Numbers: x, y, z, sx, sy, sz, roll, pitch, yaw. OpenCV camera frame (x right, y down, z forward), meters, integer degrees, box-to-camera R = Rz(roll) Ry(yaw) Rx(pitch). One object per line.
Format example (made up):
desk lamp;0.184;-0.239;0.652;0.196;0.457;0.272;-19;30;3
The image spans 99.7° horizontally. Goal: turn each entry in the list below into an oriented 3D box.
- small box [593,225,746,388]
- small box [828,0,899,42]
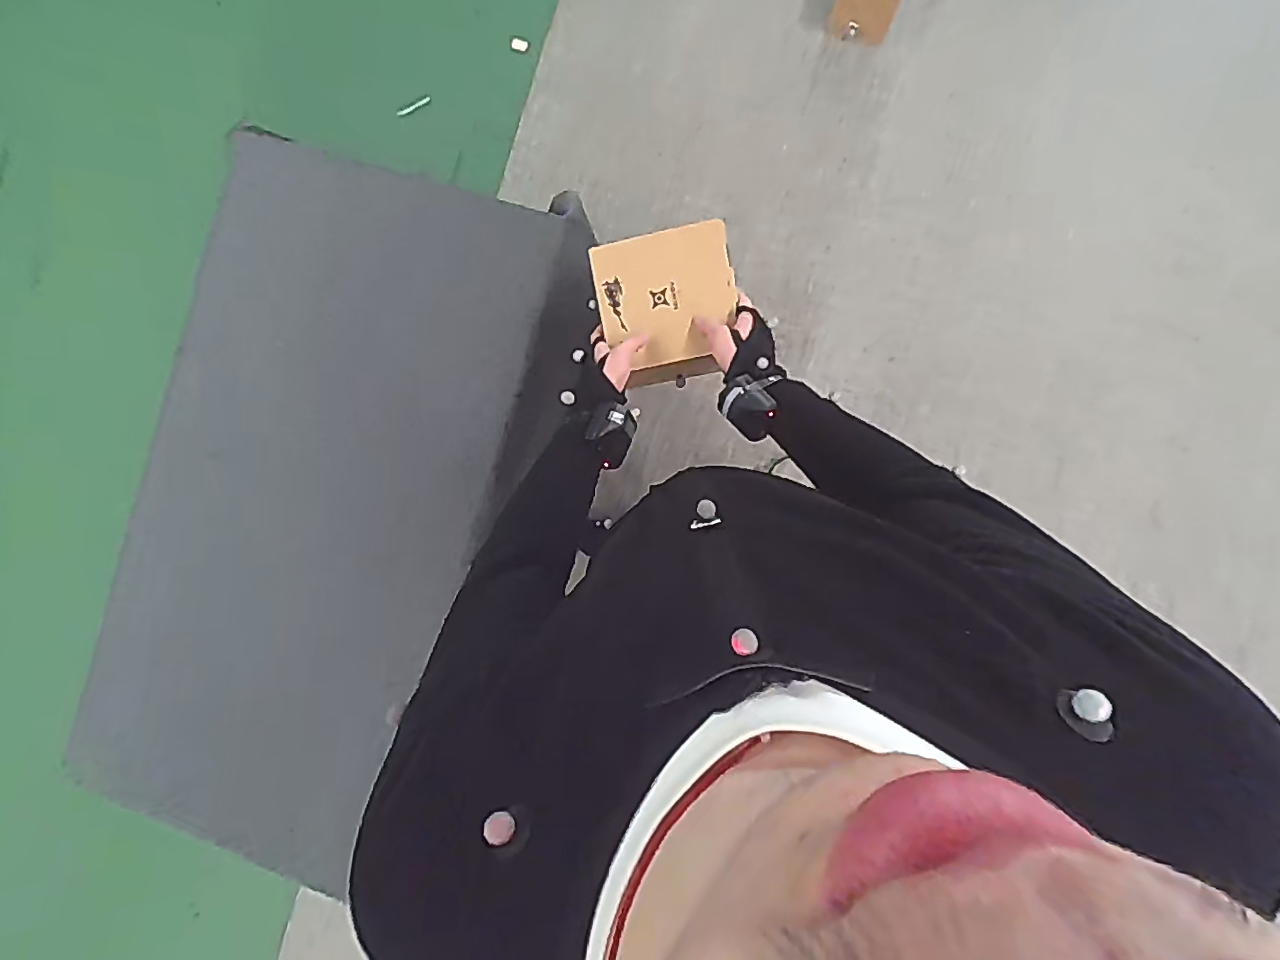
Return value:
small box;0.041;-0.233;0.766;0.179;0.176;0.168;-10;92;4
small box;0.613;-1.320;1.423;0.168;0.176;0.179;20;93;8
